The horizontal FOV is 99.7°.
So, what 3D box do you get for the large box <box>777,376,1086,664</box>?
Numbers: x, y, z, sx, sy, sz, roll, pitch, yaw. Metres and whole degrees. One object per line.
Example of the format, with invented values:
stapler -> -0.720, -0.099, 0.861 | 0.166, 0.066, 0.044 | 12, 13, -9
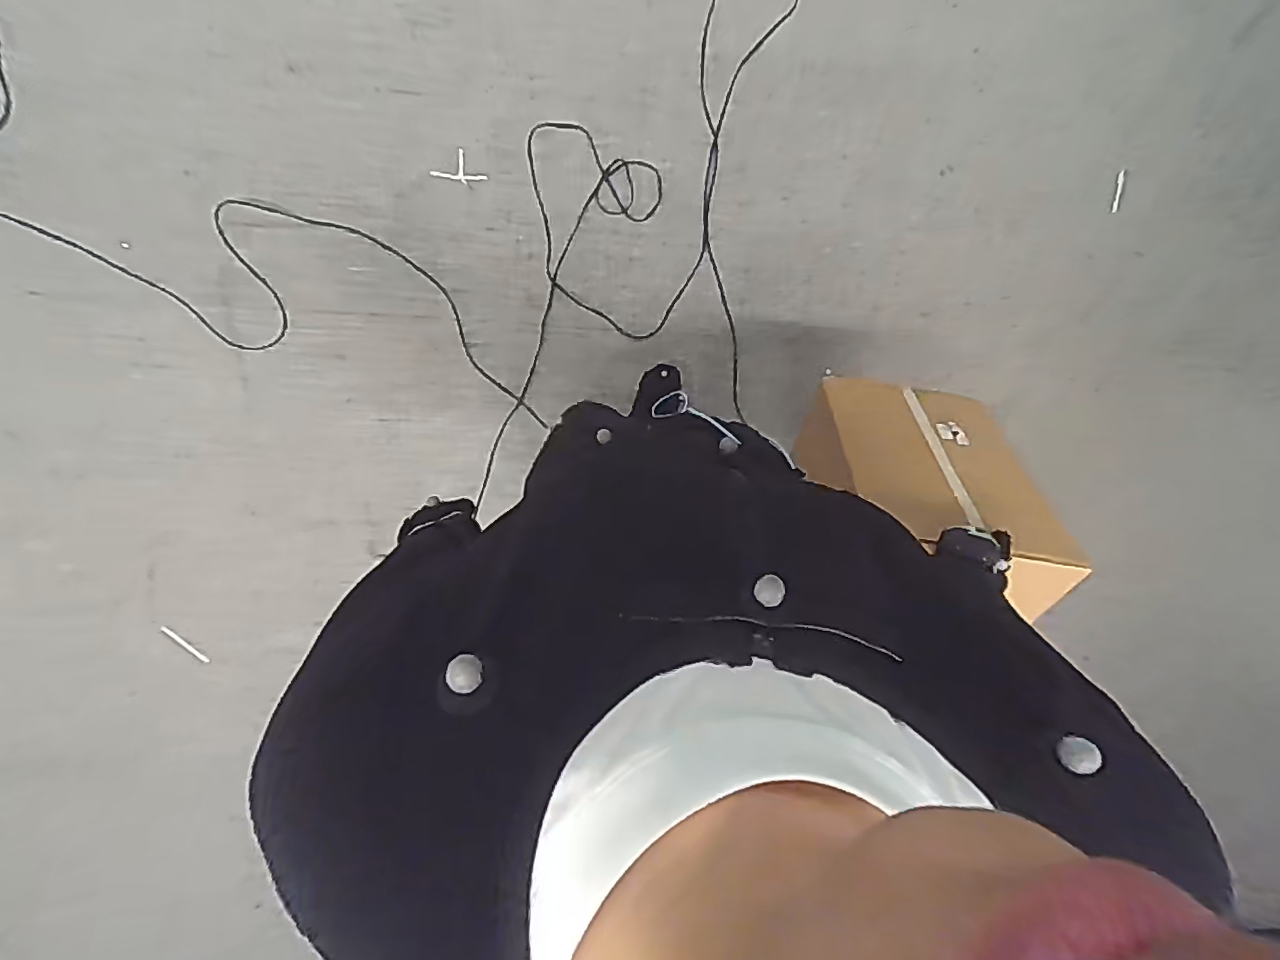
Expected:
large box -> 0.459, 0.066, 0.979 | 0.320, 0.408, 0.320 | 10, 132, -2
